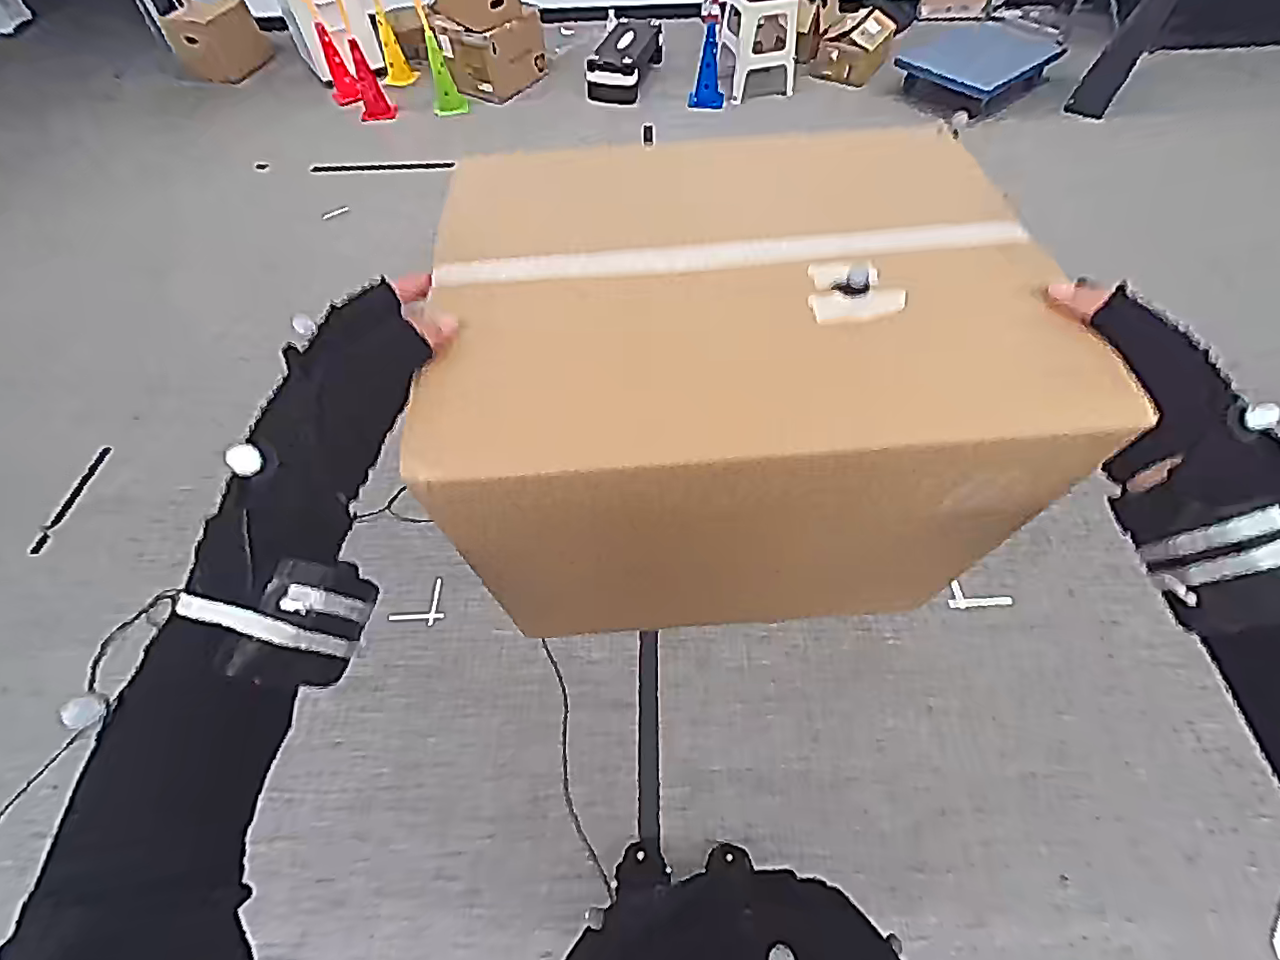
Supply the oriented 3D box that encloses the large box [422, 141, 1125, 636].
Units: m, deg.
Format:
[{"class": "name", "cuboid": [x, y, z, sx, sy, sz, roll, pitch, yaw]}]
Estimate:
[{"class": "large box", "cuboid": [0.065, -0.066, 0.500, 0.408, 0.320, 0.320, -4, 59, -2]}]
